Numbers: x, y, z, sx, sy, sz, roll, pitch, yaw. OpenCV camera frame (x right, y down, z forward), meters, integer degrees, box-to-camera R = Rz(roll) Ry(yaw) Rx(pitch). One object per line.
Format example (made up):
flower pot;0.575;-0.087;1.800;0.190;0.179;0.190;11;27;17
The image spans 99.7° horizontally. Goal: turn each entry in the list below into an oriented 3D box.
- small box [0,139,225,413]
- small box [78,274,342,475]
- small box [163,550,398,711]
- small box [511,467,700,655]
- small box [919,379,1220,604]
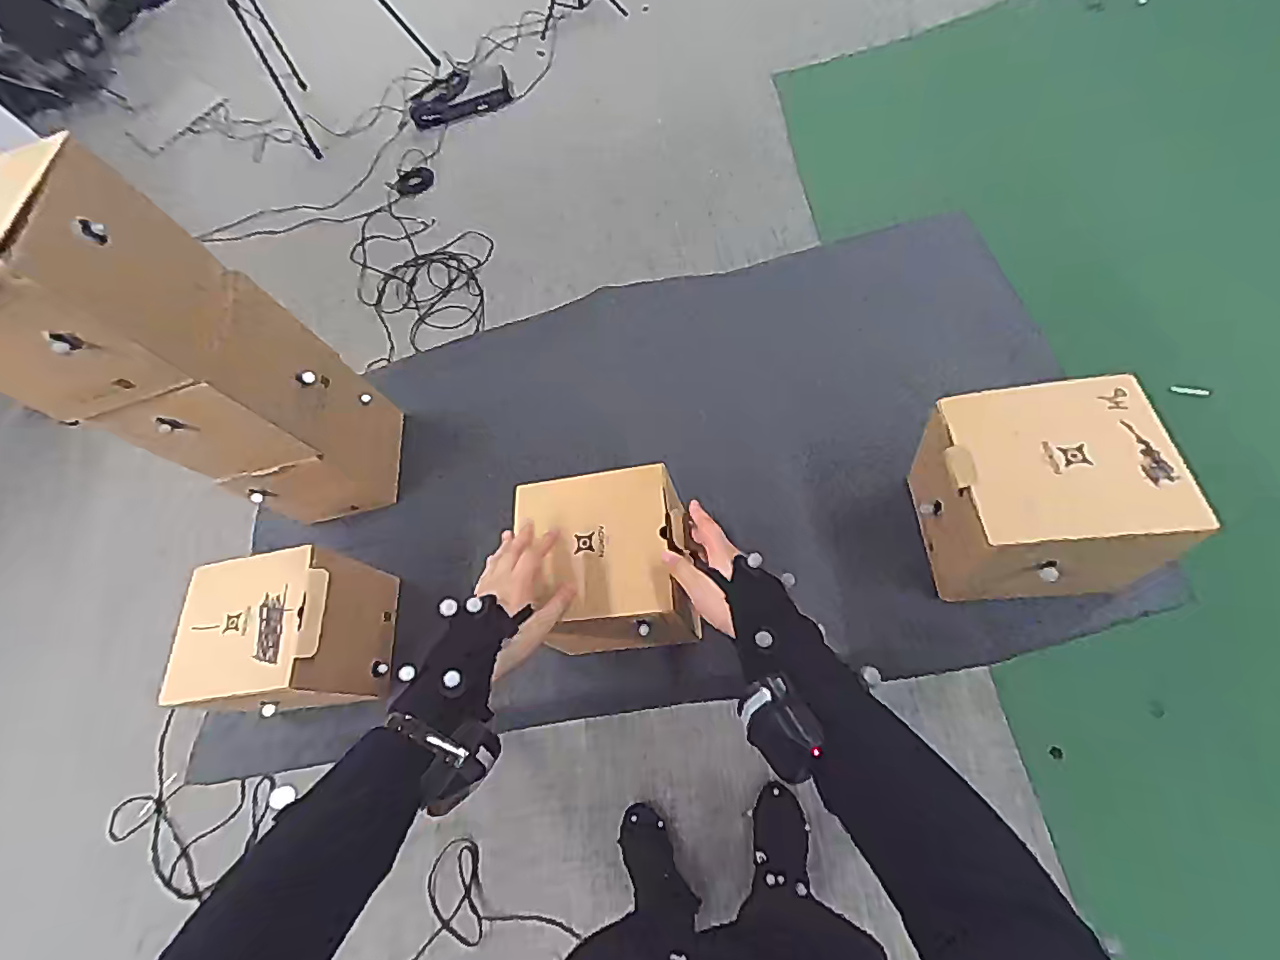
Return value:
small box;-0.562;-0.185;0.538;0.168;0.176;0.179;-14;62;6
small box;-0.519;-0.120;0.681;0.179;0.176;0.168;-11;64;9
small box;-0.442;0.201;0.698;0.179;0.176;0.168;-11;64;10
small box;-0.033;0.106;0.640;0.179;0.176;0.168;-9;62;10
small box;0.404;0.023;0.558;0.179;0.176;0.168;-7;60;12
